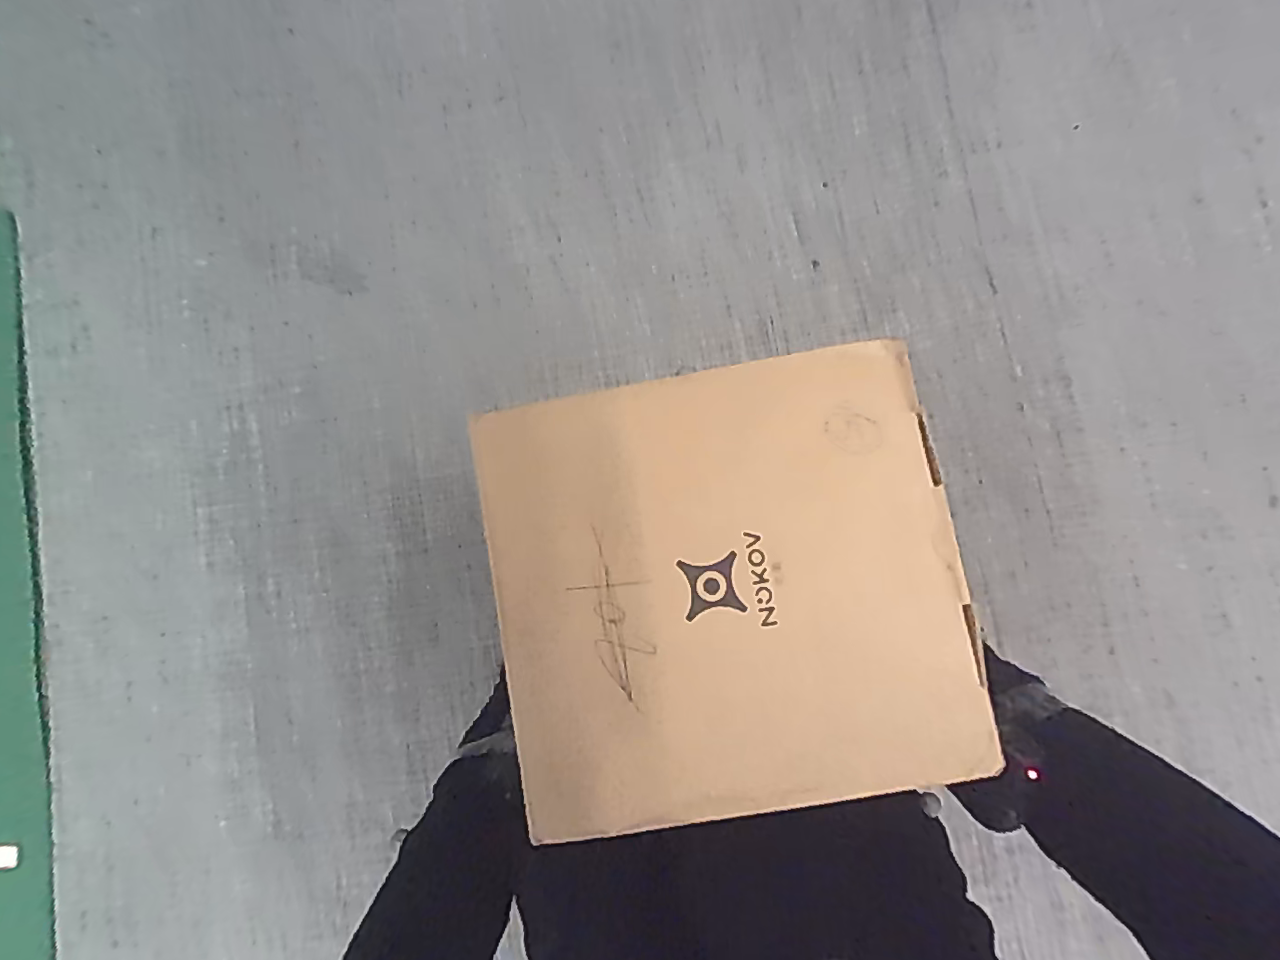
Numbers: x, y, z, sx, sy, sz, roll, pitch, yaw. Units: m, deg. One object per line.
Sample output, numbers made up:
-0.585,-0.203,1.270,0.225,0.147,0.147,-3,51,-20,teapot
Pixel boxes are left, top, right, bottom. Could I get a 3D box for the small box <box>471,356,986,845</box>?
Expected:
0.035,0.053,0.288,0.179,0.176,0.168,-11,83,5,small box
